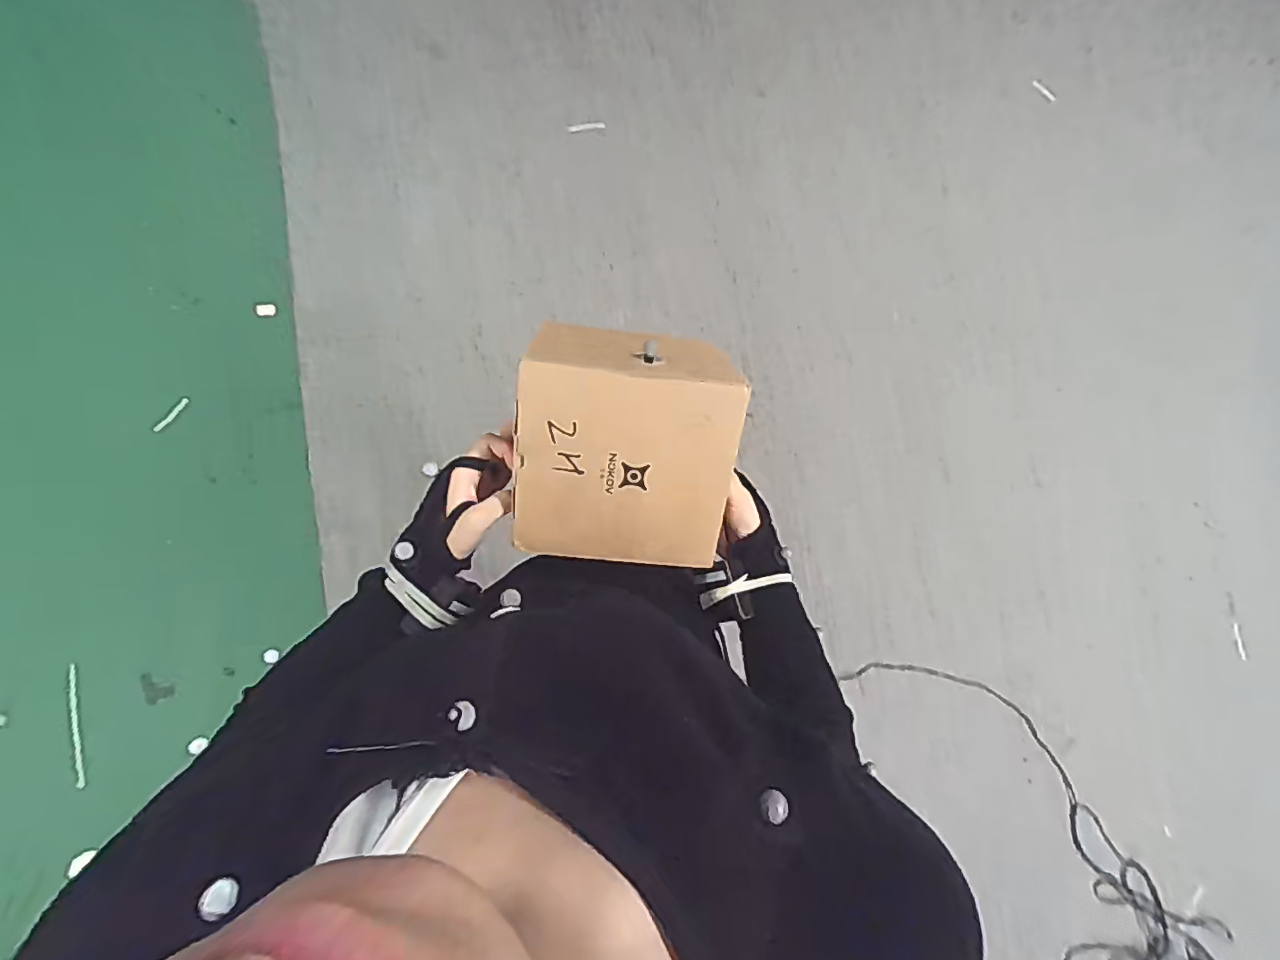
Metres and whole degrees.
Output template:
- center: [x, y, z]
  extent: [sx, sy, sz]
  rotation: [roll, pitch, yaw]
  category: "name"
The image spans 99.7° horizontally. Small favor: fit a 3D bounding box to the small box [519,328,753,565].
- center: [-0.012, -0.040, 0.509]
  extent: [0.179, 0.176, 0.168]
  rotation: [6, 115, -4]
  category: "small box"
